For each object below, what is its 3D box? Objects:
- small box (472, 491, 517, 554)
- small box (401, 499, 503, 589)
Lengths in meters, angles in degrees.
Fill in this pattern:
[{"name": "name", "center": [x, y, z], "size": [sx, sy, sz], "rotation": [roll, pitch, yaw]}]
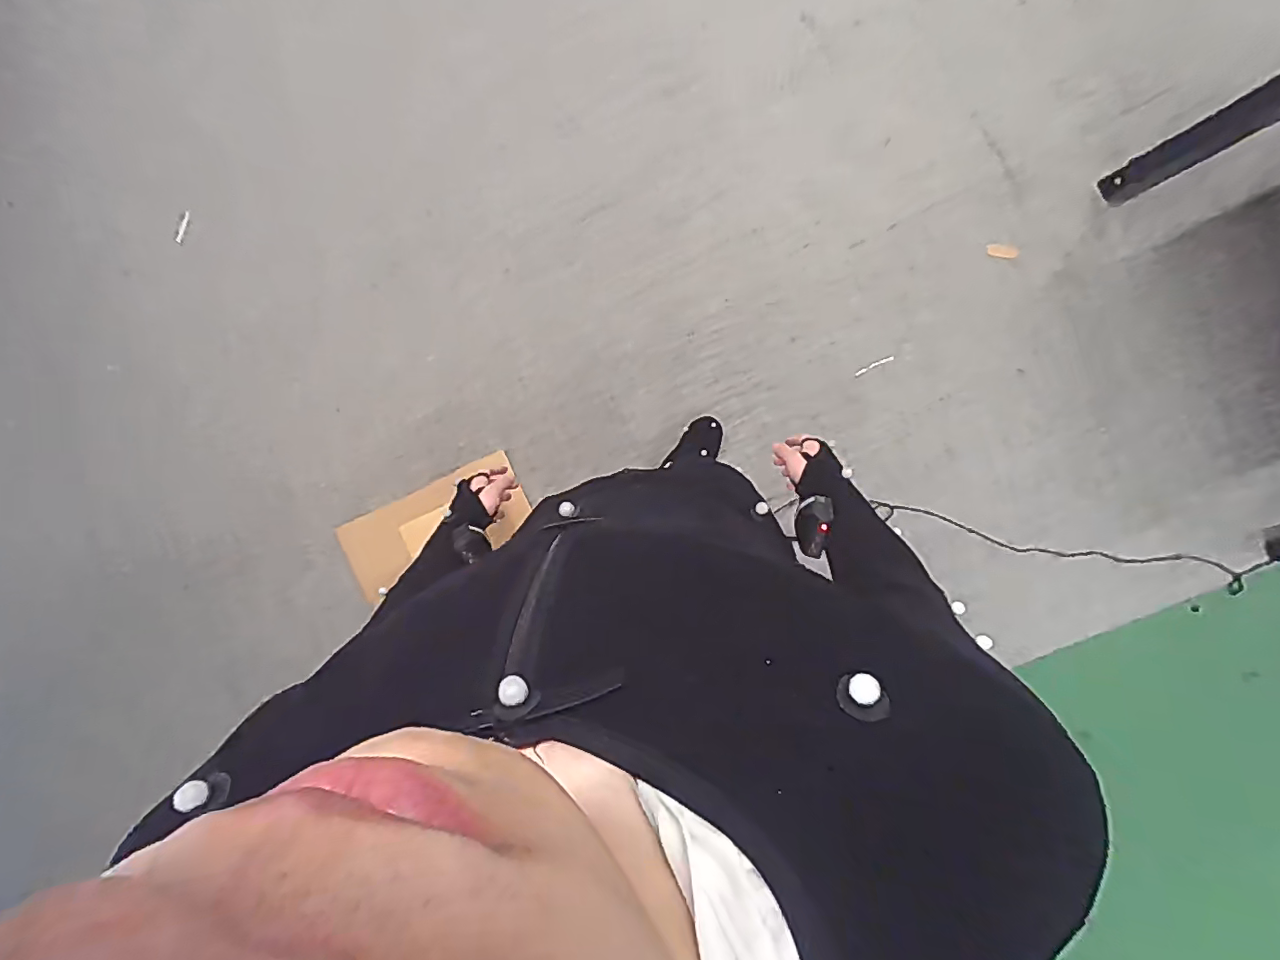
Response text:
[{"name": "small box", "center": [-0.484, 0.147, 1.586], "size": [0.168, 0.176, 0.179], "rotation": [-24, 93, 5]}, {"name": "small box", "center": [-0.487, 0.158, 1.425], "size": [0.168, 0.176, 0.179], "rotation": [-25, 94, 4]}]
